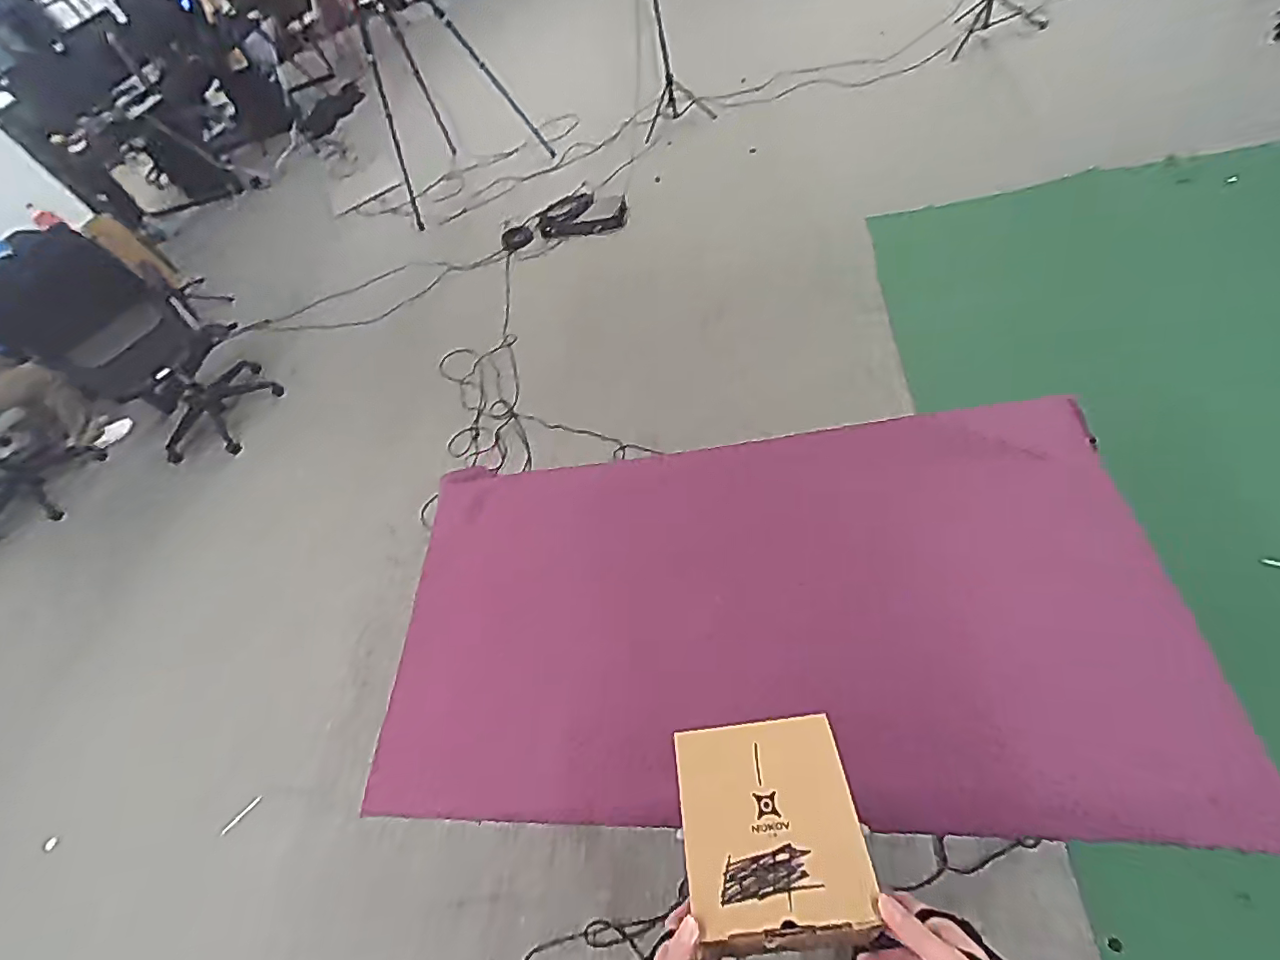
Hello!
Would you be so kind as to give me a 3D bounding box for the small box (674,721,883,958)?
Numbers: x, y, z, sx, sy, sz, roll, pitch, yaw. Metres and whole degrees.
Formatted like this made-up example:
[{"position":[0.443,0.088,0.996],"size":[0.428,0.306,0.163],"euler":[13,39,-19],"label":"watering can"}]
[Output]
[{"position":[0.135,0.383,0.572],"size":[0.168,0.176,0.179],"euler":[-9,44,4],"label":"small box"}]
